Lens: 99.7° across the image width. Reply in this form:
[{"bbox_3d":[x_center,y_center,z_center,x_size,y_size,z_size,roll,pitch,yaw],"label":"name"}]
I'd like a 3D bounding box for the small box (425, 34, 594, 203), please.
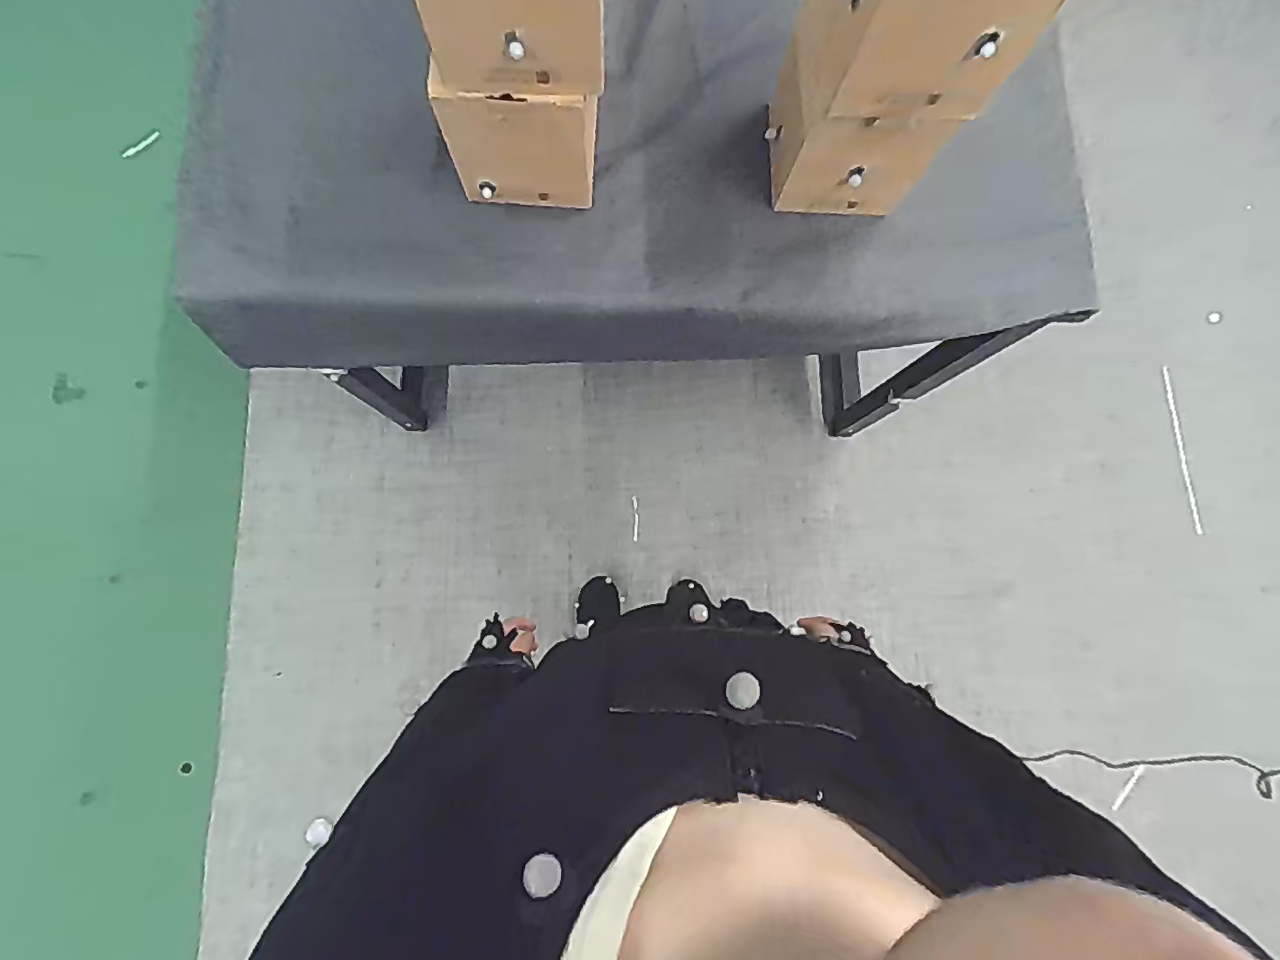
[{"bbox_3d":[-0.144,-0.469,0.660,0.168,0.176,0.179,3,79,-3],"label":"small box"}]

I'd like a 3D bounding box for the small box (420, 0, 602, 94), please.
[{"bbox_3d":[-0.121,-0.506,0.501,0.168,0.176,0.179,-1,80,-3],"label":"small box"}]

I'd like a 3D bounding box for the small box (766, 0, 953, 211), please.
[{"bbox_3d":[0.262,-0.467,0.680,0.168,0.176,0.179,1,81,-3],"label":"small box"}]

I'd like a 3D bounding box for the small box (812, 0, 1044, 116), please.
[{"bbox_3d":[0.276,-0.489,0.519,0.168,0.176,0.179,0,79,-4],"label":"small box"}]
